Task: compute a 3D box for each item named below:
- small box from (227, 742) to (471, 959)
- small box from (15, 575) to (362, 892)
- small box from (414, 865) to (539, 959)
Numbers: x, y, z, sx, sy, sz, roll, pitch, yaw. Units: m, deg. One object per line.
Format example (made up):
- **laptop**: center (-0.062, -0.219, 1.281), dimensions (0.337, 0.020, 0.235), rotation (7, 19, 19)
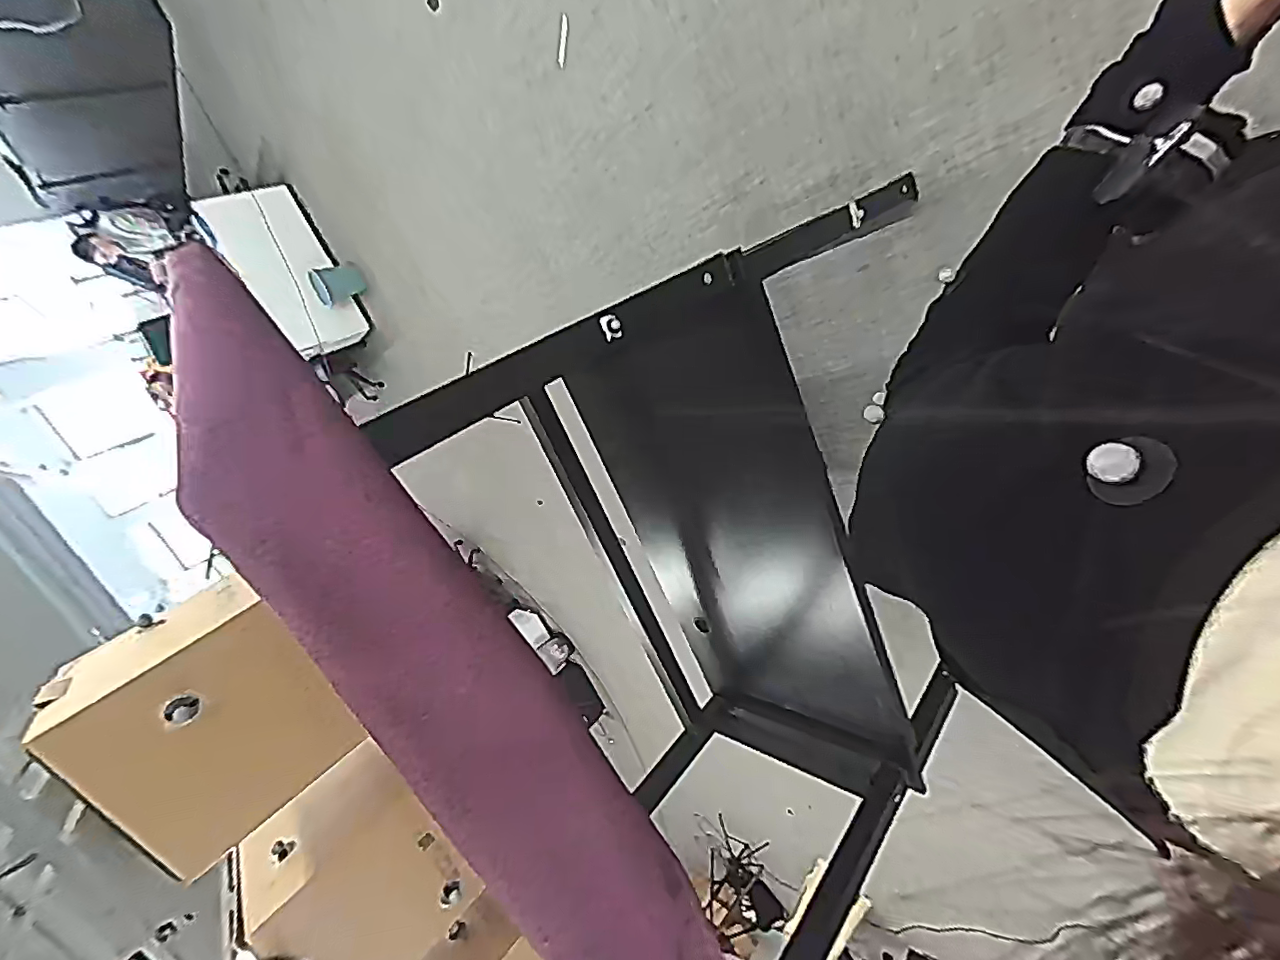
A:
- **small box**: center (-0.316, 0.432, 0.603), dimensions (0.179, 0.176, 0.168), rotation (0, 119, 52)
- **small box**: center (-0.402, 0.215, 0.510), dimensions (0.168, 0.176, 0.179), rotation (6, 125, 50)
- **small box**: center (-0.223, 0.656, 0.691), dimensions (0.168, 0.176, 0.179), rotation (3, 122, 49)
